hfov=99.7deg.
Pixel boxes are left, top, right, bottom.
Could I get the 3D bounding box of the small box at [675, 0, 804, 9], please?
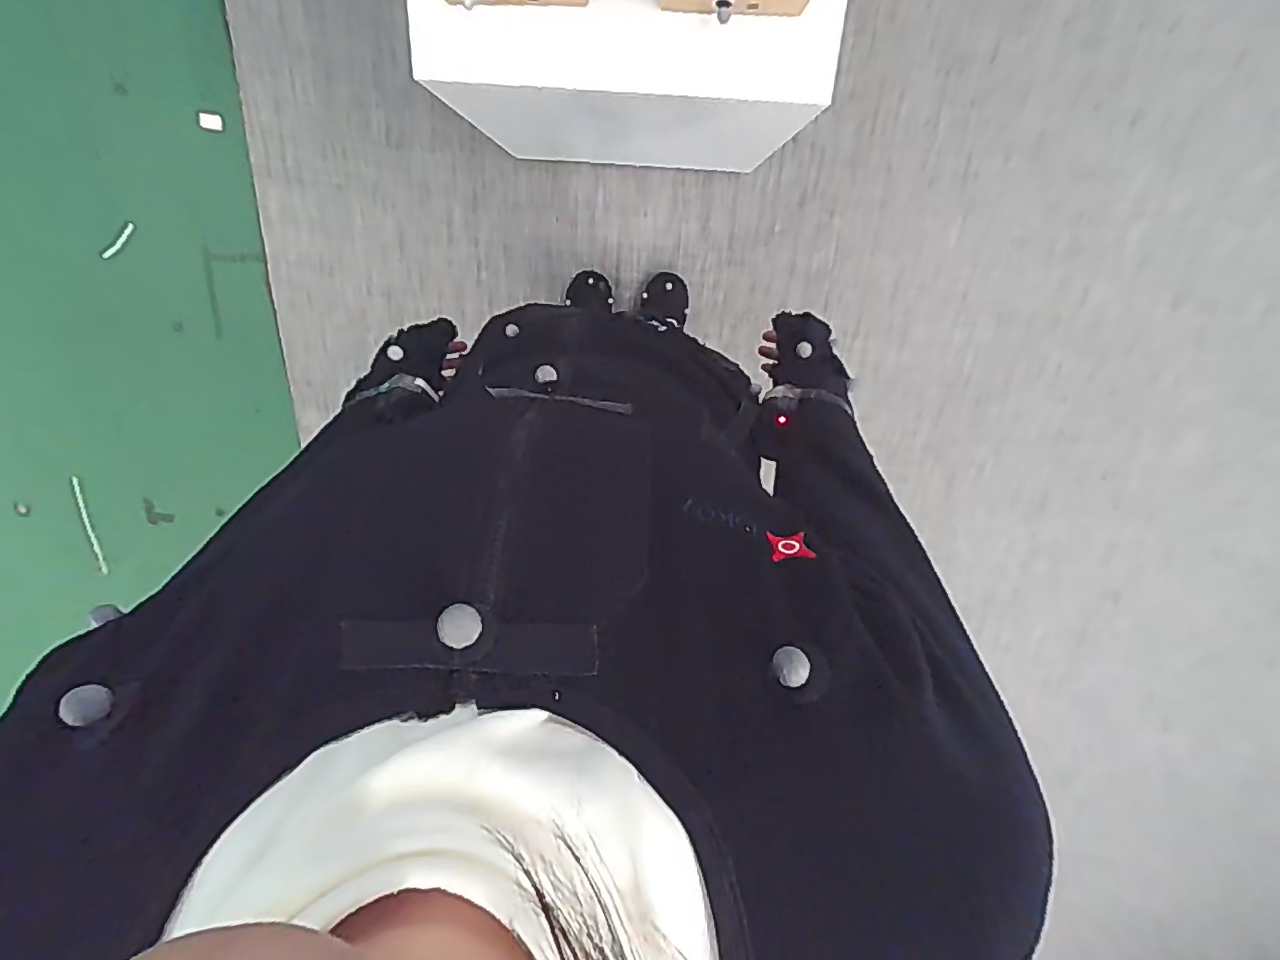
[{"bbox_3d":[0.106,-0.583,0.503,0.168,0.176,0.179,1,114,2],"label":"small box"}]
